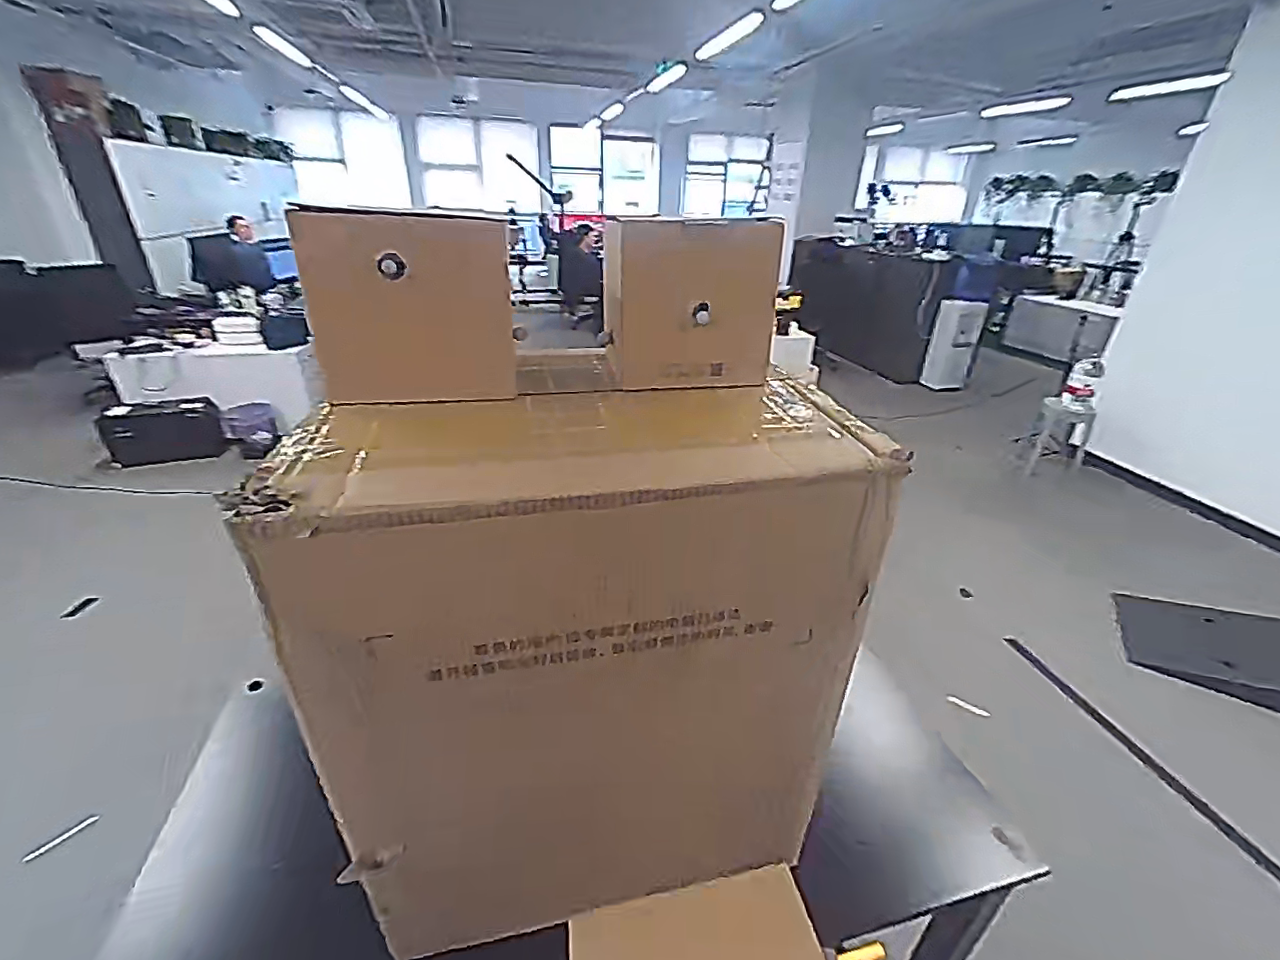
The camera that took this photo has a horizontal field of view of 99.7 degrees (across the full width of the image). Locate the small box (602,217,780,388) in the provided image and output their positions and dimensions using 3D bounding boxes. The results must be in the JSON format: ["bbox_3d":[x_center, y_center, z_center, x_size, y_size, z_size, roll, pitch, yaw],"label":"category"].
[{"bbox_3d":[0.048,-0.208,0.627,0.168,0.176,0.179,-4,27,-8],"label":"small box"}]

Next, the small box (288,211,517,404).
[{"bbox_3d":[-0.223,-0.181,0.560,0.179,0.176,0.168,-3,27,-13],"label":"small box"}]
